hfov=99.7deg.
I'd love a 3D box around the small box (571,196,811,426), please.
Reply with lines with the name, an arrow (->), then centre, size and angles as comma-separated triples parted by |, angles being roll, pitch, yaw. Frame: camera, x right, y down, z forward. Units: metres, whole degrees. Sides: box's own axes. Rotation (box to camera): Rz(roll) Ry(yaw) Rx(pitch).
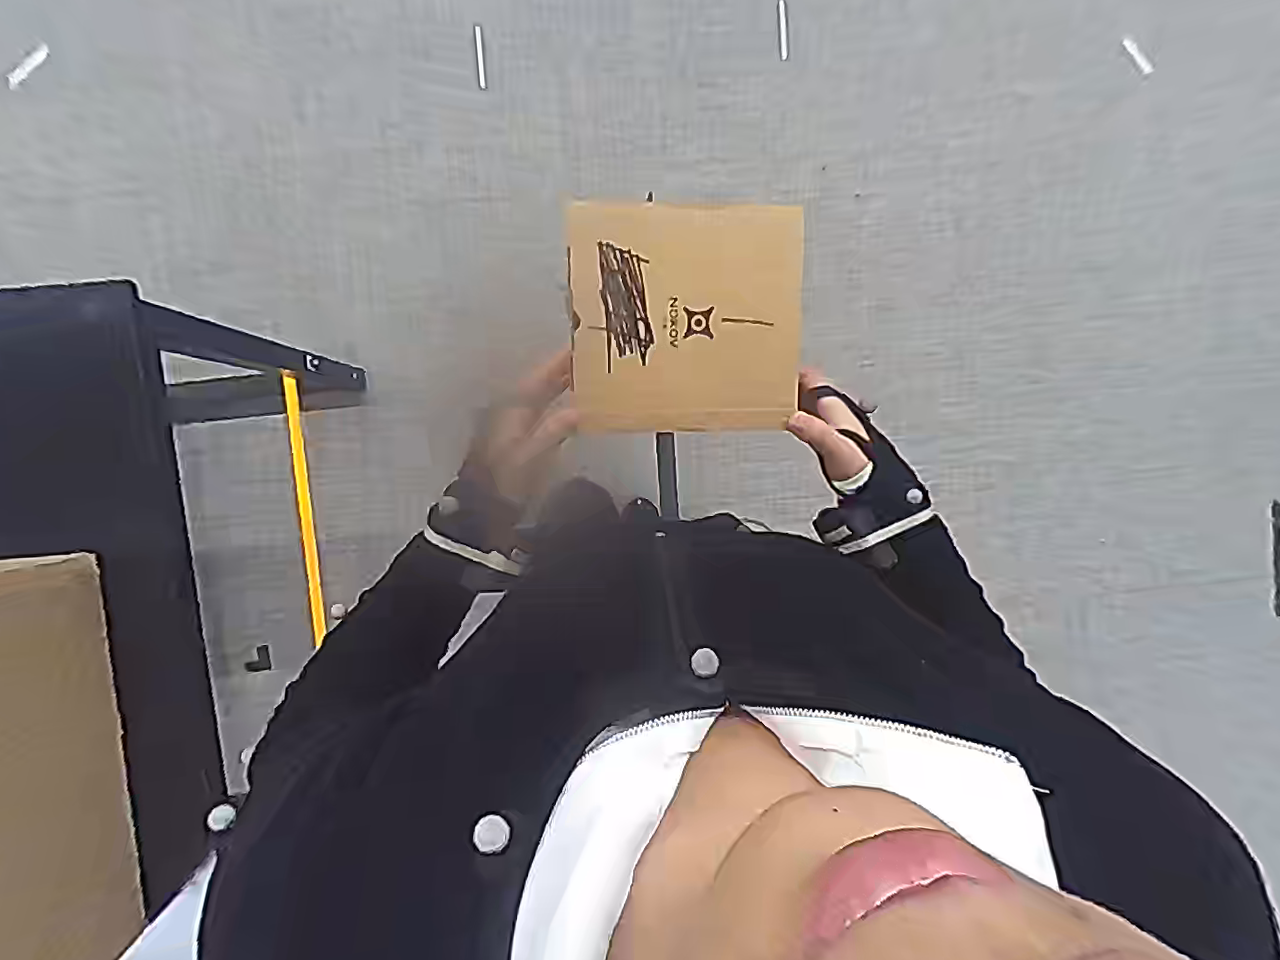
small box -> 0.032, -0.134, 0.478 | 0.179, 0.176, 0.168 | -2, 100, -5
